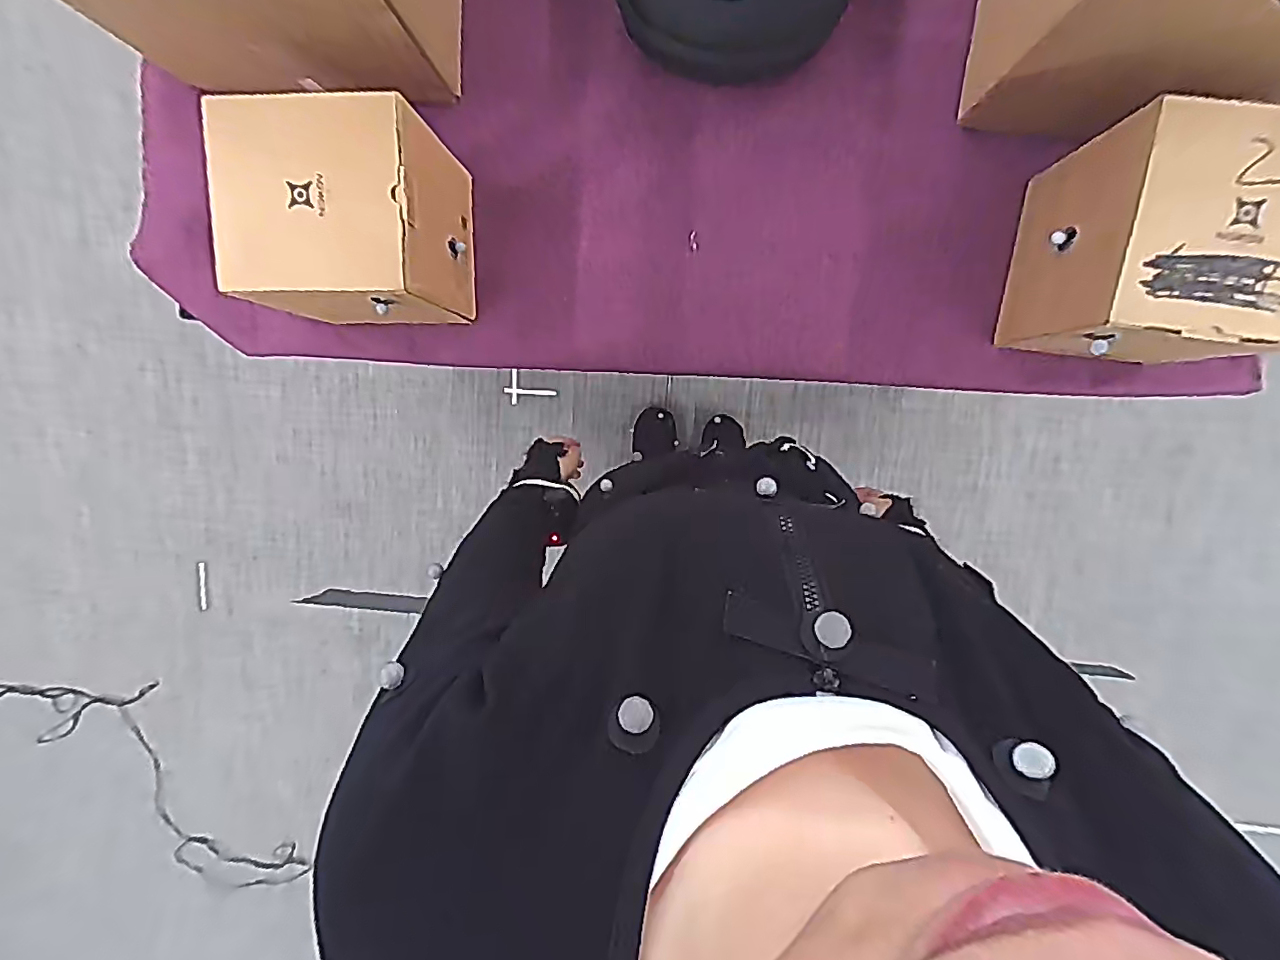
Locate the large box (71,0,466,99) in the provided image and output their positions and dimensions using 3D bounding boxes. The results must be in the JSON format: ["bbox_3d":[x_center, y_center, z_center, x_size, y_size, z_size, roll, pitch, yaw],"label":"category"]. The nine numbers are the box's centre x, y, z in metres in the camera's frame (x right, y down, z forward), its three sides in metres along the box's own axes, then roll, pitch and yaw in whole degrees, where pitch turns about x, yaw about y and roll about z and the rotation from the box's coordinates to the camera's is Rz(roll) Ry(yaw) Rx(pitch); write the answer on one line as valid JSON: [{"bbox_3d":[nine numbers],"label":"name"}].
[{"bbox_3d":[-0.342,-0.605,0.432,0.320,0.320,0.408,3,101,2],"label":"large box"}]

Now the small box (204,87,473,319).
[{"bbox_3d":[-0.287,-0.261,0.551,0.179,0.176,0.168,0,97,3],"label":"small box"}]
